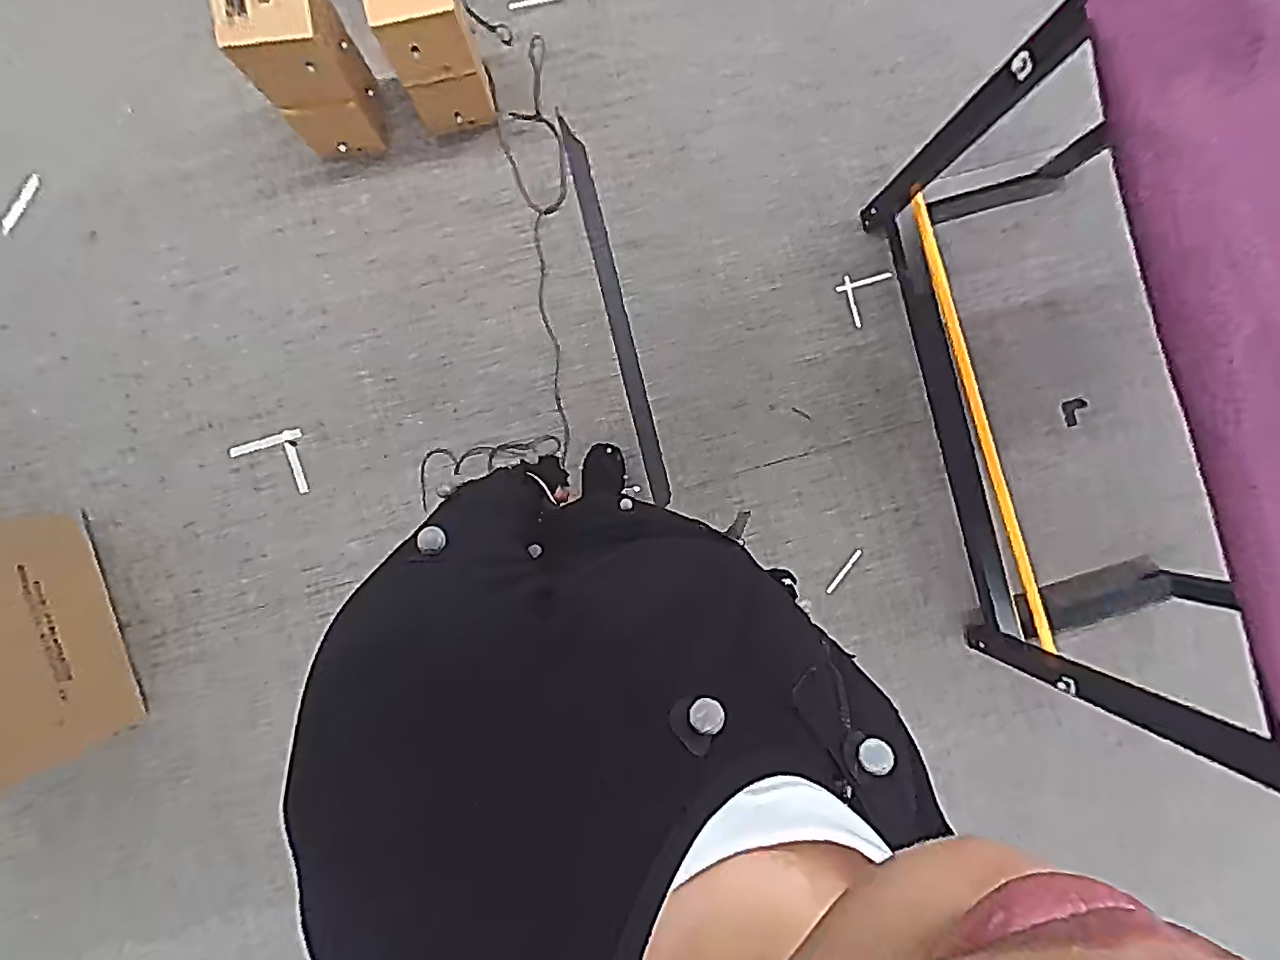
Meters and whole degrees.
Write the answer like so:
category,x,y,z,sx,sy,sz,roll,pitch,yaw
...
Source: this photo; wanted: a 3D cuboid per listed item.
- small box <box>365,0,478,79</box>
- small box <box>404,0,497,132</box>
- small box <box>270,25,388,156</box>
category,x,y,z,sx,sy,sz,roll,pitch,yaw
small box,-0.439,-0.943,1.077,0.168,0.176,0.179,-14,91,-1
small box,-0.442,-0.947,1.240,0.168,0.176,0.179,-13,92,-1
small box,-0.698,-0.876,1.228,0.168,0.176,0.179,-8,92,-3
